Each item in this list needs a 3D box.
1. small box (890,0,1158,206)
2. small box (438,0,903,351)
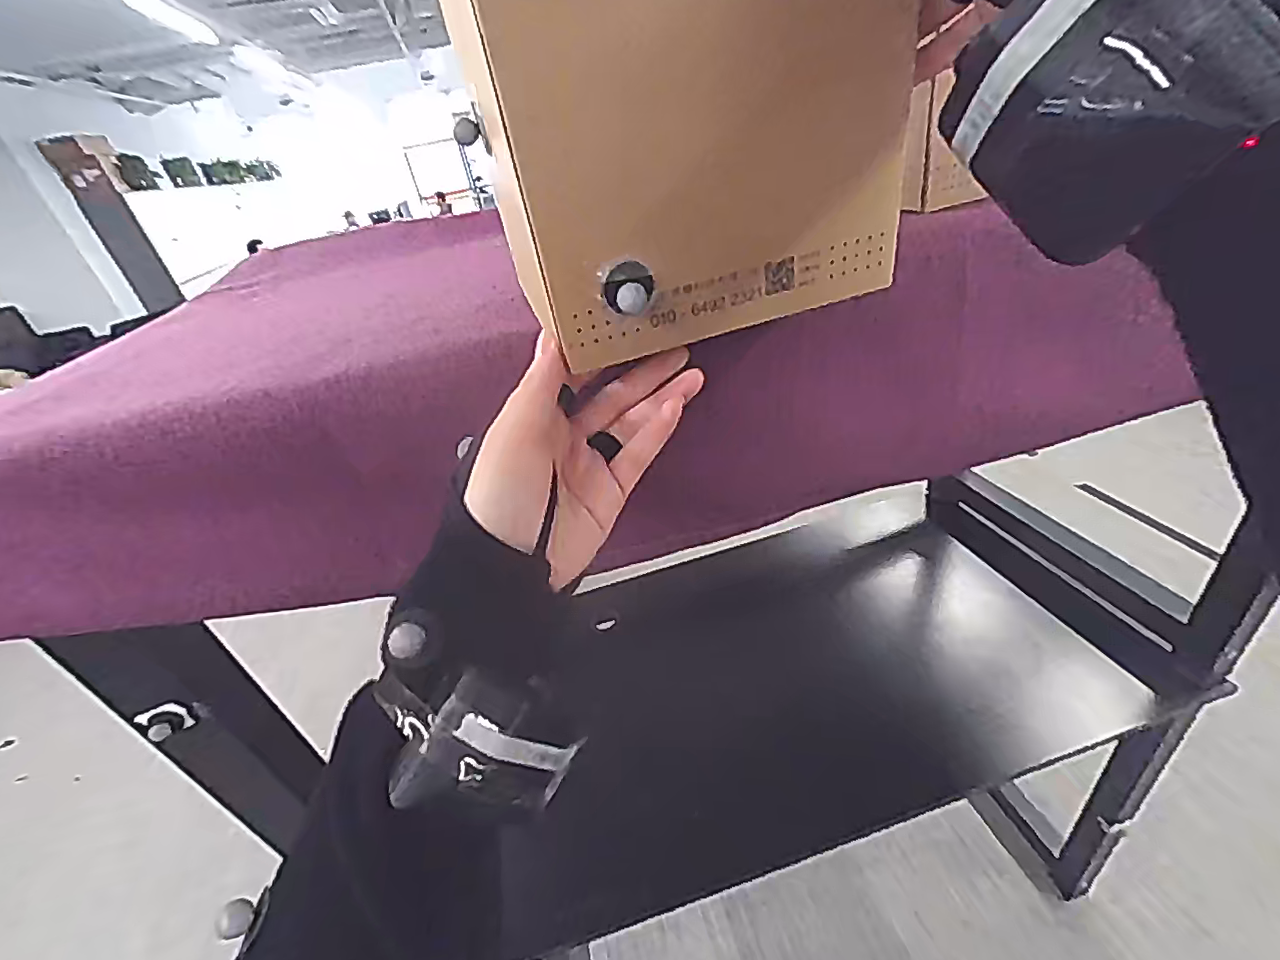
[{"bbox_3d":[0.229,-0.310,0.402,0.168,0.176,0.179,-17,32,-8],"label":"small box"},{"bbox_3d":[0.008,-0.177,0.265,0.168,0.176,0.179,-18,35,-9],"label":"small box"}]
